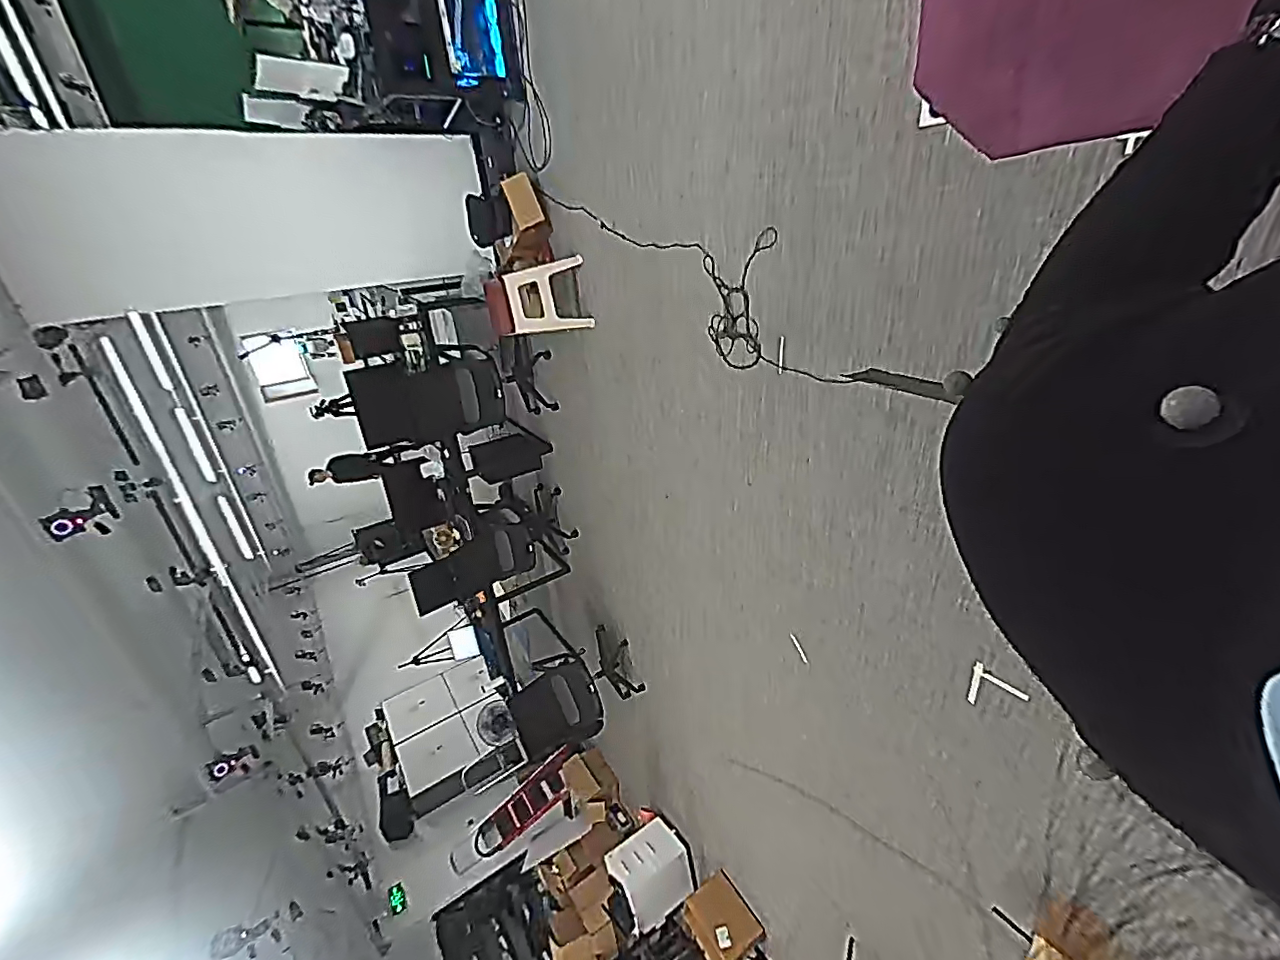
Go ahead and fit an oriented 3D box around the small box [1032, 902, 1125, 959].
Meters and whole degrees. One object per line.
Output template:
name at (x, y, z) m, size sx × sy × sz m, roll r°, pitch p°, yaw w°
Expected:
small box at (1.347, 1.470, 1.663) m, size 0.168 × 0.176 × 0.179 m, roll 25°, pitch 129°, yaw 52°
